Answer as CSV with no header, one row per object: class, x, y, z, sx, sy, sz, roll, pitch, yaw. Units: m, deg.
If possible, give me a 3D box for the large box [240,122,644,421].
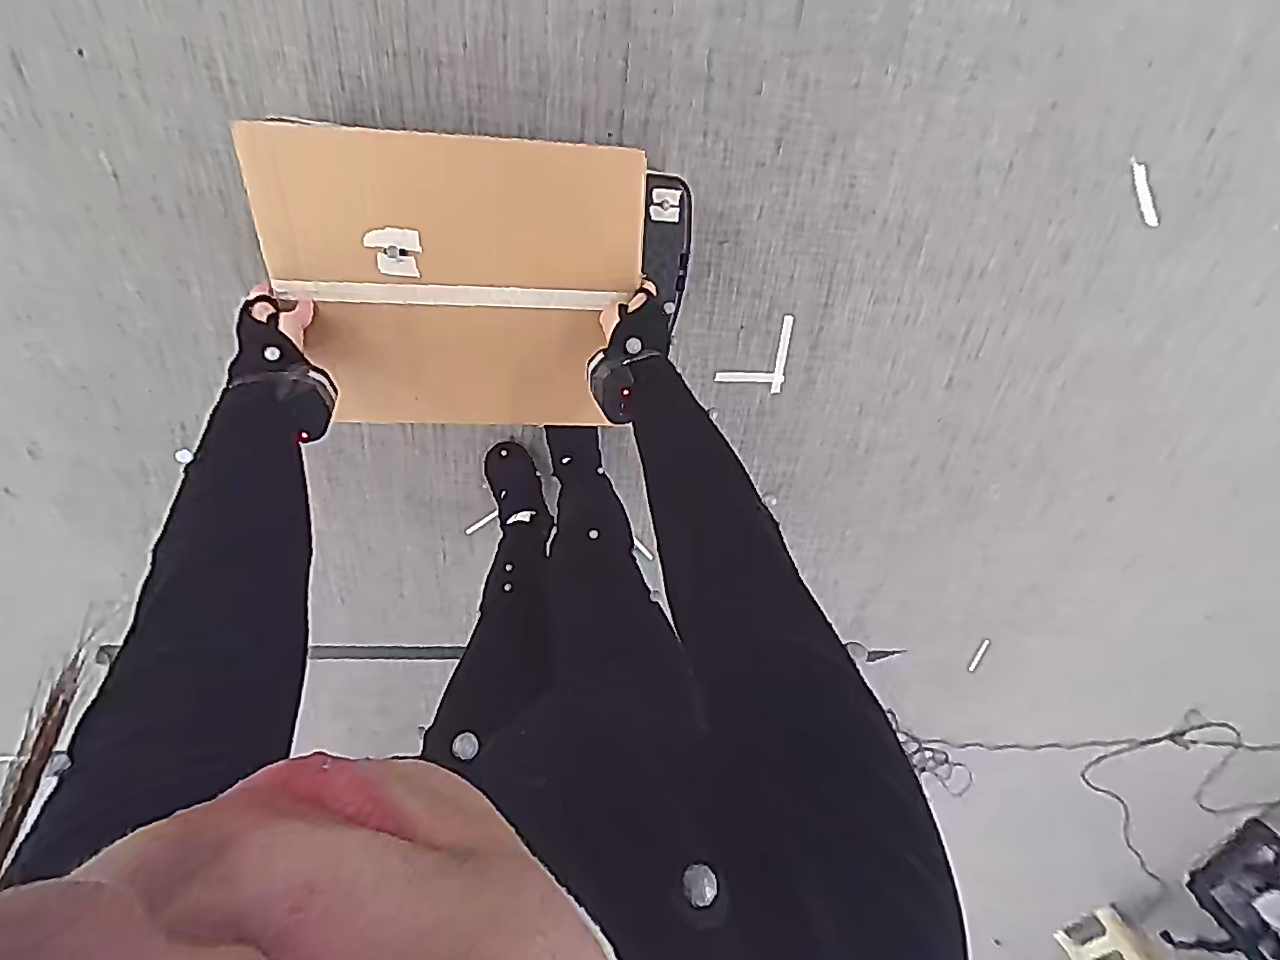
large box,-0.208,-0.281,0.738,0.408,0.320,0.320,0,117,-6
